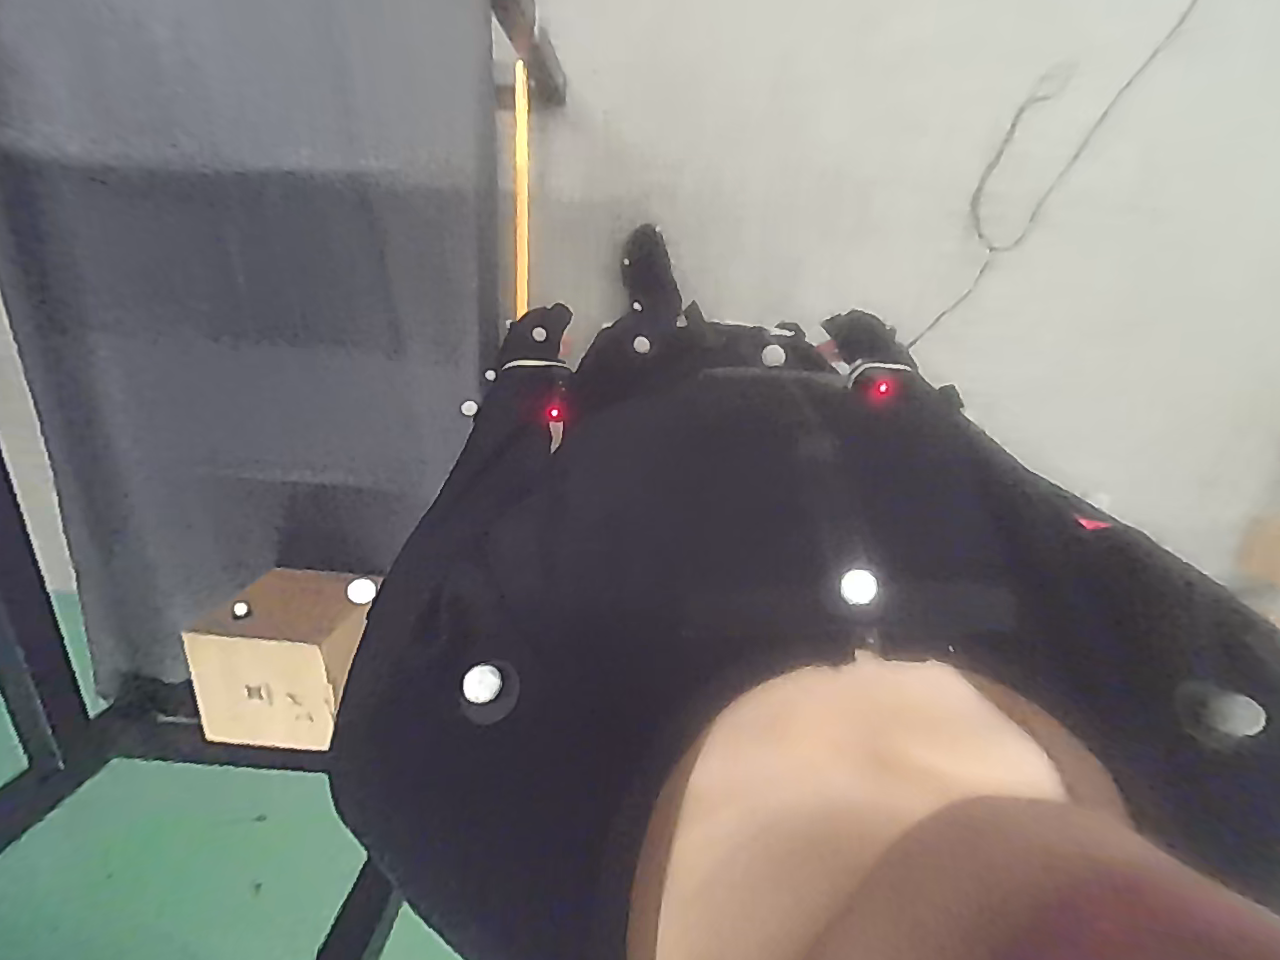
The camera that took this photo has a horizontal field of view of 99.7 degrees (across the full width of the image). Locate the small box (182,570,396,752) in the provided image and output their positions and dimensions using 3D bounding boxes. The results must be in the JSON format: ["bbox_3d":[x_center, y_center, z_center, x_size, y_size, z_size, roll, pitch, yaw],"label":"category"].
[{"bbox_3d":[-0.463,0.237,0.743,0.179,0.176,0.168,5,109,1],"label":"small box"}]
